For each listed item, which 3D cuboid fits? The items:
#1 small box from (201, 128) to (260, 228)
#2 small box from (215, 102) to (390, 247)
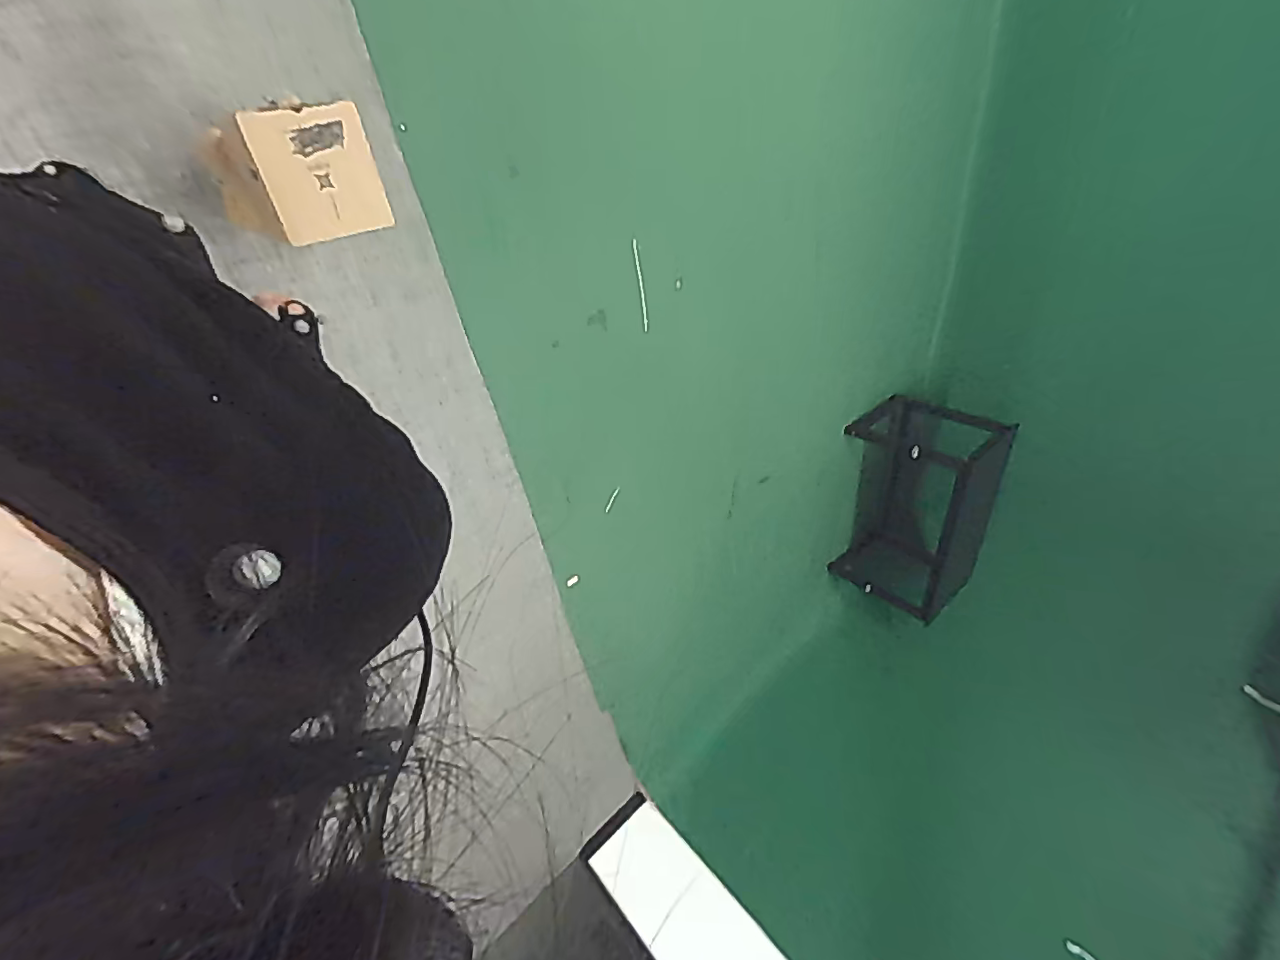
[{"bbox_3d":[-0.754,-0.603,1.089,0.179,0.176,0.168,-22,126,-35],"label":"small box"},{"bbox_3d":[-0.540,-0.488,0.867,0.168,0.176,0.179,-31,132,-30],"label":"small box"}]
